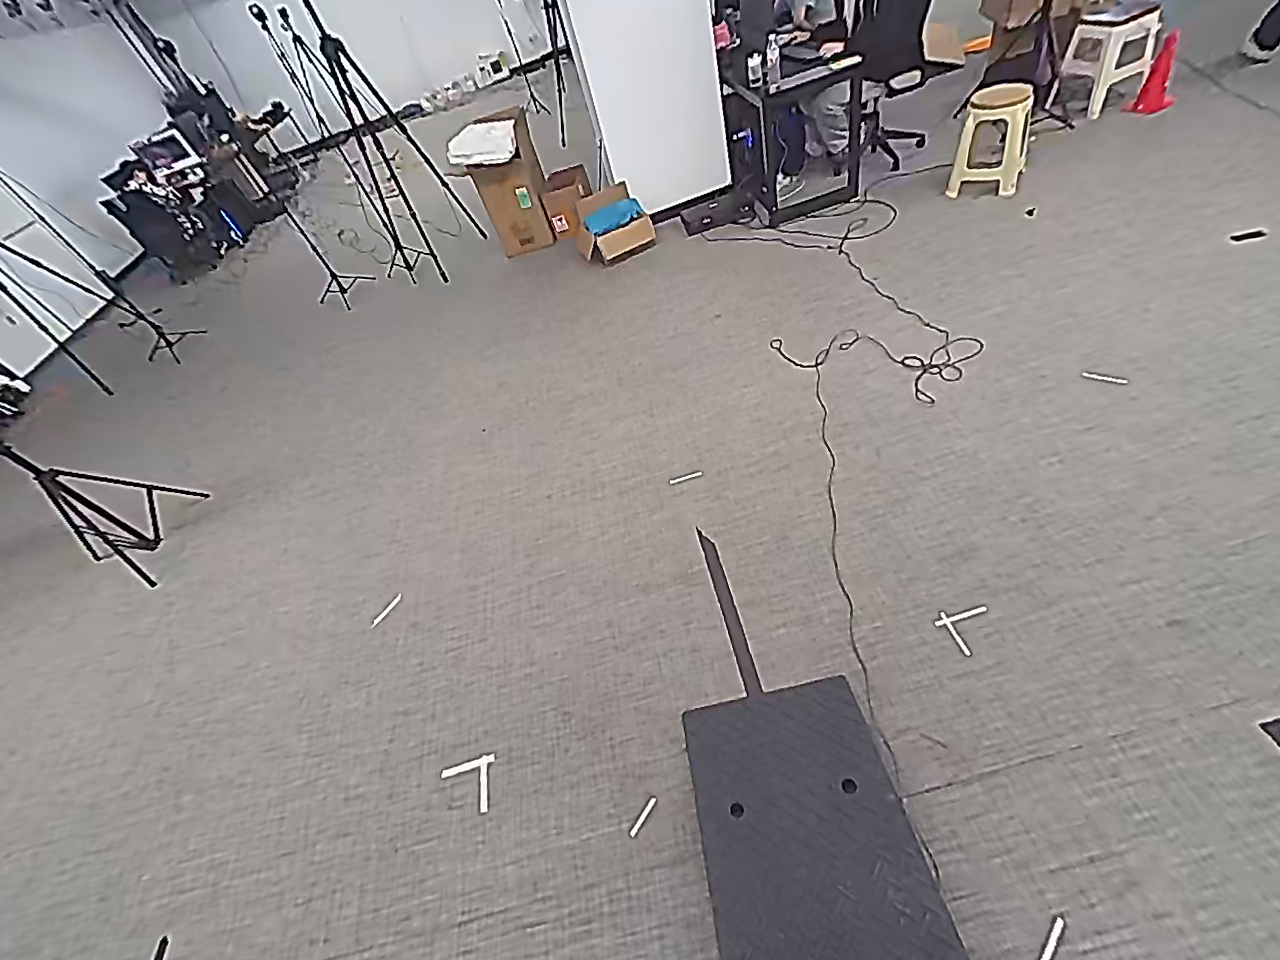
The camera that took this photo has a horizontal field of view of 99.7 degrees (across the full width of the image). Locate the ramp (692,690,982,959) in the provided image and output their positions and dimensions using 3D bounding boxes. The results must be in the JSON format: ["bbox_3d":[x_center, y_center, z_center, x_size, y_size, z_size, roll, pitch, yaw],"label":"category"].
[{"bbox_3d":[0.426,0.951,1.168,0.509,0.206,0.991,-19,43,4],"label":"ramp"}]
